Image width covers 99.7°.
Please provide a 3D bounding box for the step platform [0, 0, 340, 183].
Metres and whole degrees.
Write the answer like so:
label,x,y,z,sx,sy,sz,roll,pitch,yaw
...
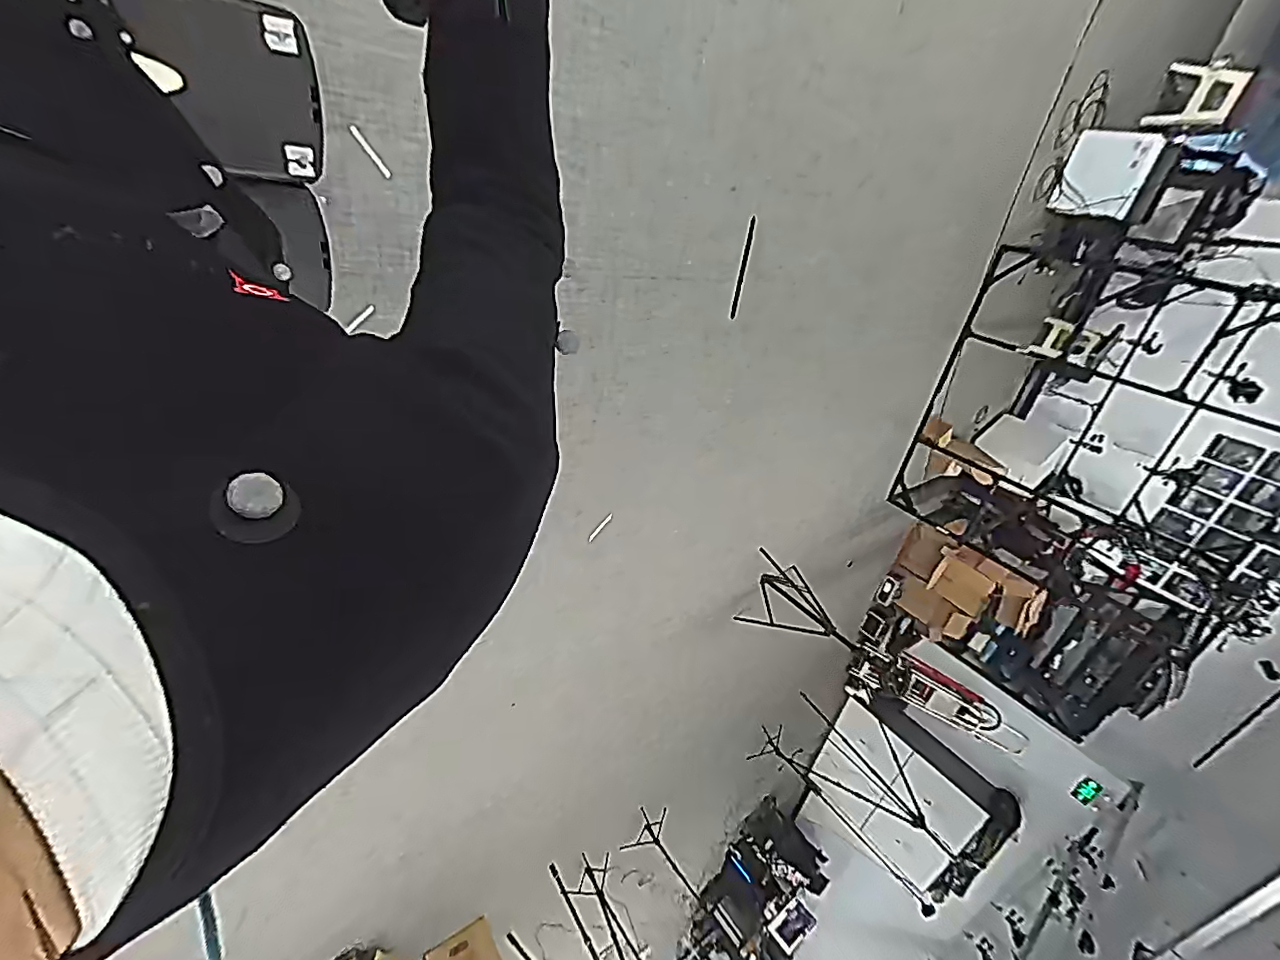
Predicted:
label,x,y,z,sx,sy,sz,roll,pitch,yaw
step platform,-0.901,-0.699,0.918,0.684,0.204,0.286,-16,129,-37
